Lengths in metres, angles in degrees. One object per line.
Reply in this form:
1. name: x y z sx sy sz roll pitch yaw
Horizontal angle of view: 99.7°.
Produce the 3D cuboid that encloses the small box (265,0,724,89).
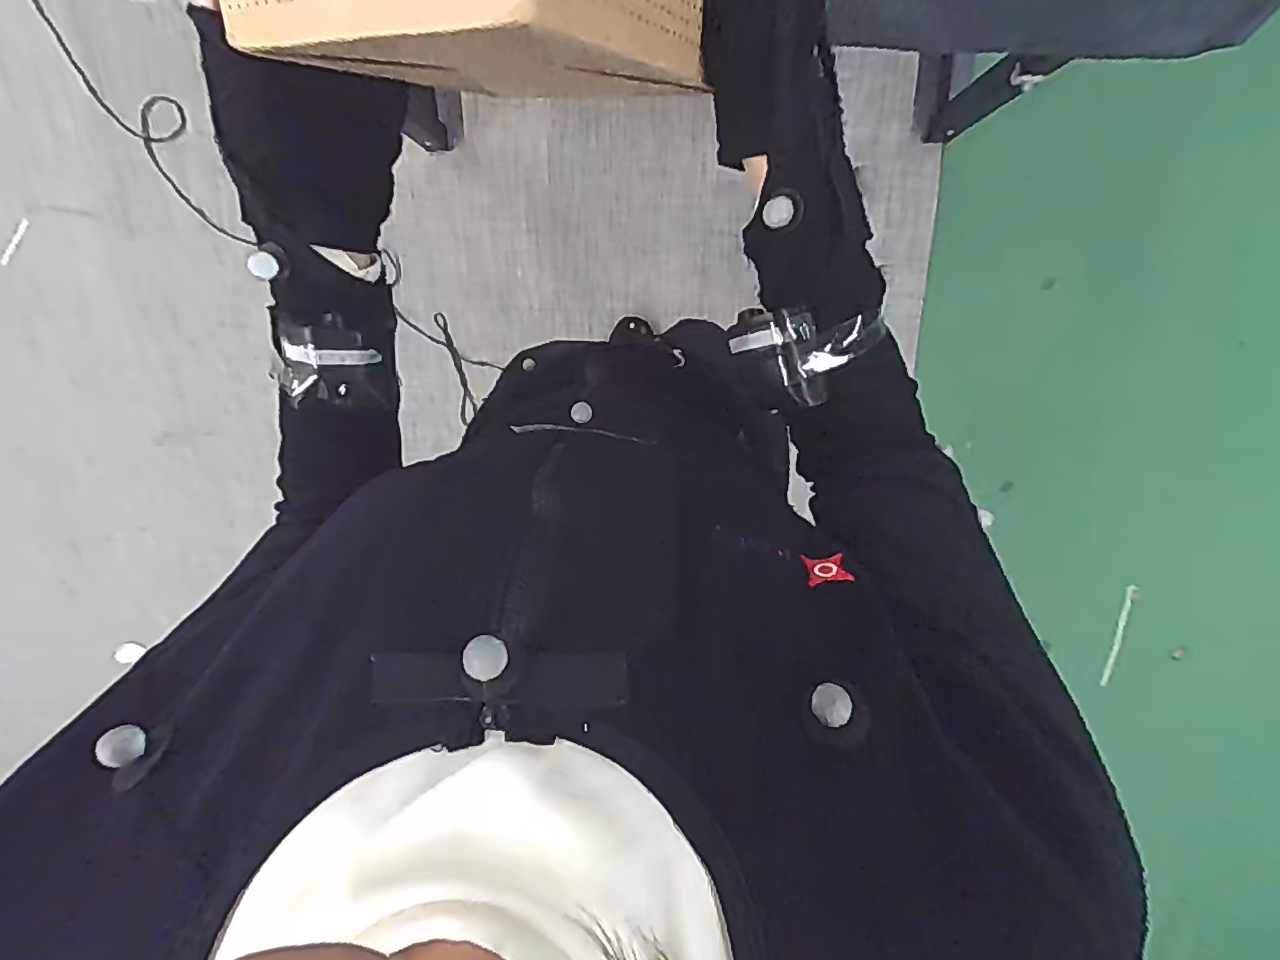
1. small box: -0.060 -0.283 0.236 0.168 0.179 0.176 16 123 23
